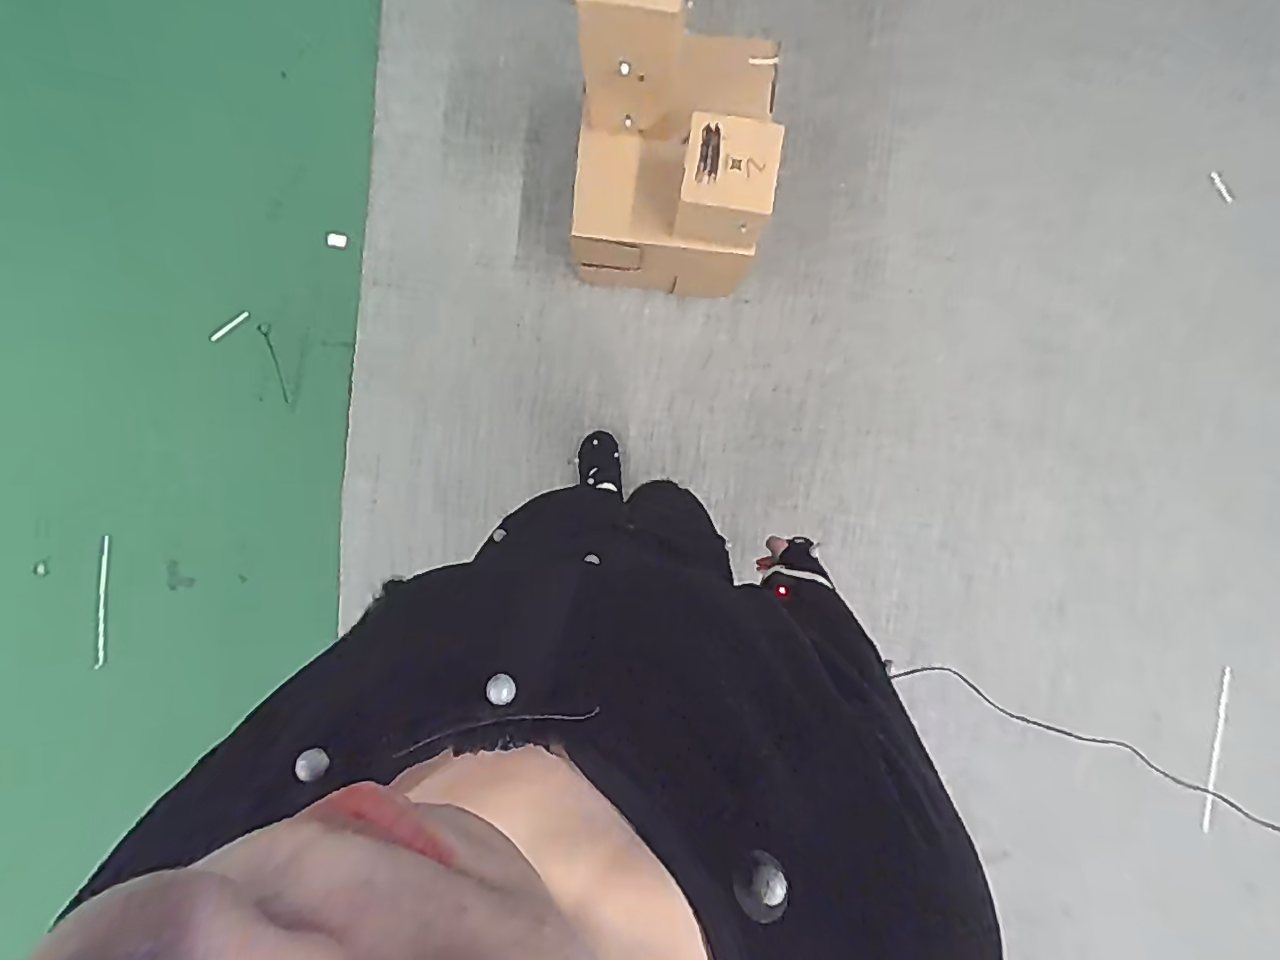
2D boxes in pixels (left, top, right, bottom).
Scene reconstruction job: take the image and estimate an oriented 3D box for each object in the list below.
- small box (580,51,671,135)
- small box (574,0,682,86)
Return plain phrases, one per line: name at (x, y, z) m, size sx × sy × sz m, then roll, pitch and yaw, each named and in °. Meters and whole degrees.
small box at (-0.022, -0.827, 1.066) m, size 0.168 × 0.176 × 0.179 m, roll 6°, pitch 90°, yaw 0°
small box at (-0.014, -0.811, 0.901) m, size 0.168 × 0.176 × 0.179 m, roll 8°, pitch 90°, yaw 0°
